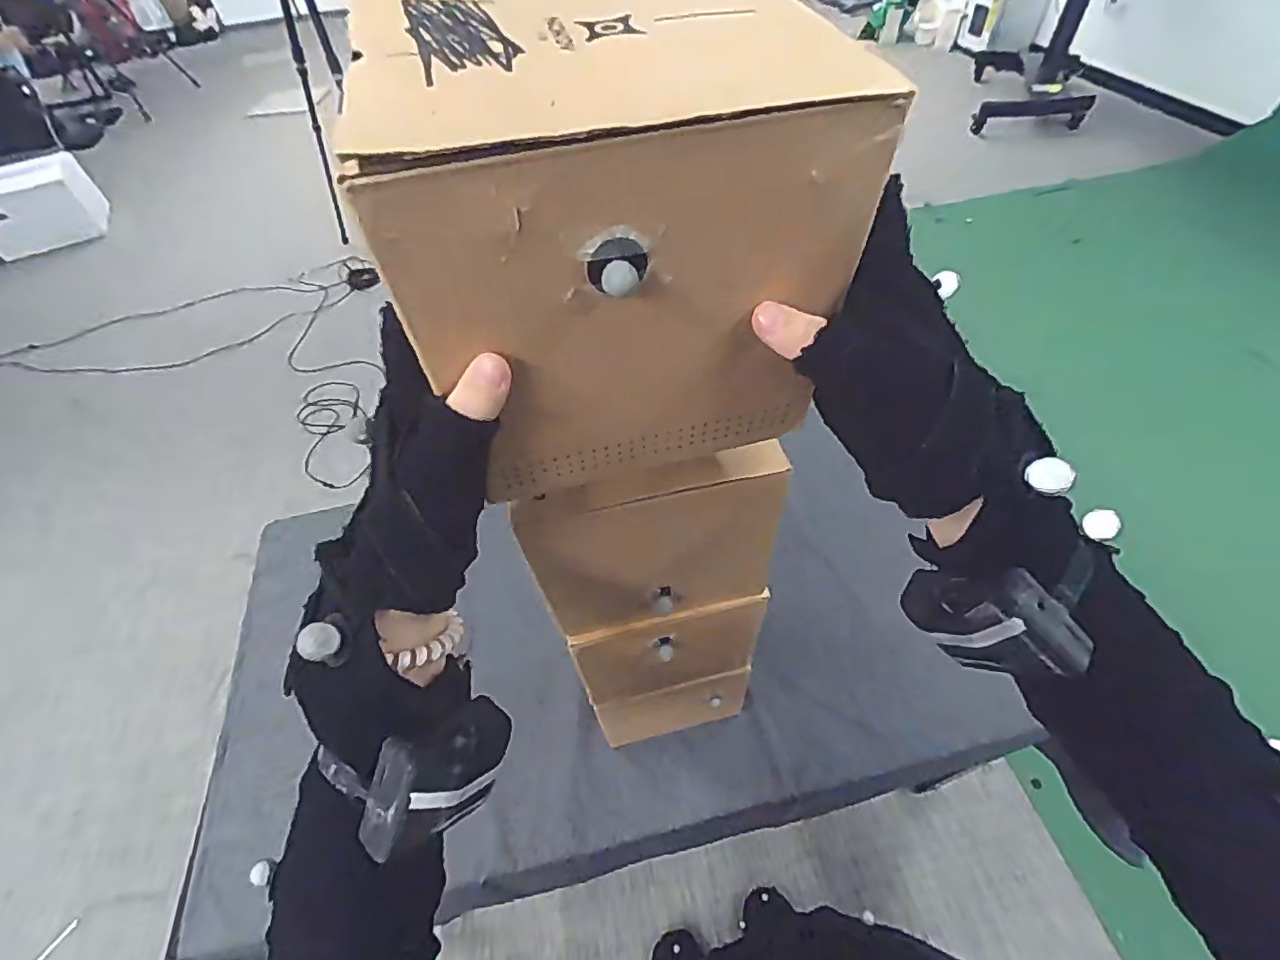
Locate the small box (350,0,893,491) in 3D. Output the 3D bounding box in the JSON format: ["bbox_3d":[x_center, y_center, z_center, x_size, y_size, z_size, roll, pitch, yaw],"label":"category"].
[{"bbox_3d":[-0.016,-0.115,0.274,0.179,0.176,0.168,-13,56,-8],"label":"small box"}]

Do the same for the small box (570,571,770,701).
[{"bbox_3d":[0.016,0.109,0.565,0.179,0.176,0.168,-13,51,-5],"label":"small box"}]

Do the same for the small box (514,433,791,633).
[{"bbox_3d":[0.000,0.003,0.439,0.179,0.176,0.168,-11,50,-4],"label":"small box"}]
